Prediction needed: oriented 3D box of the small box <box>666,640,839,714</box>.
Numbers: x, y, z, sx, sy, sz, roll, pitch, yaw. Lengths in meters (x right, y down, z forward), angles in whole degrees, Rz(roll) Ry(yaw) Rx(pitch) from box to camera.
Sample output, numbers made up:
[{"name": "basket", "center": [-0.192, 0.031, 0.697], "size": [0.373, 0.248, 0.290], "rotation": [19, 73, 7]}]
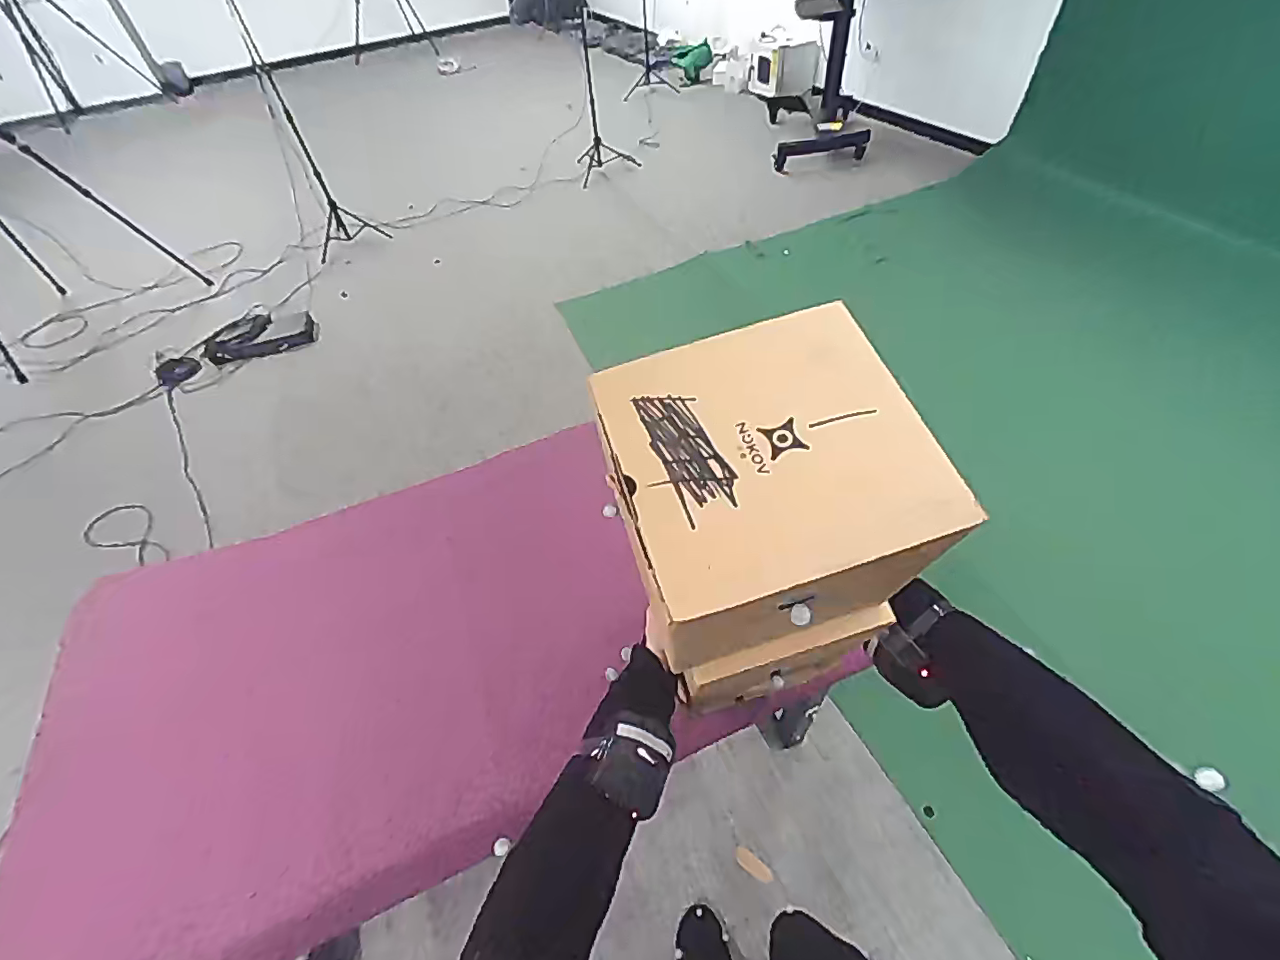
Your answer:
[{"name": "small box", "center": [0.115, 0.176, 0.663], "size": [0.168, 0.176, 0.179], "rotation": [-15, 62, -4]}]

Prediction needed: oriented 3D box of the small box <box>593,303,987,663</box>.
[{"name": "small box", "center": [0.080, 0.014, 0.378], "size": [0.179, 0.176, 0.168], "rotation": [-17, 63, -5]}]

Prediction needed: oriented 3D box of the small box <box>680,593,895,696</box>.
[{"name": "small box", "center": [0.104, 0.096, 0.518], "size": [0.168, 0.176, 0.179], "rotation": [-16, 62, -4]}]
